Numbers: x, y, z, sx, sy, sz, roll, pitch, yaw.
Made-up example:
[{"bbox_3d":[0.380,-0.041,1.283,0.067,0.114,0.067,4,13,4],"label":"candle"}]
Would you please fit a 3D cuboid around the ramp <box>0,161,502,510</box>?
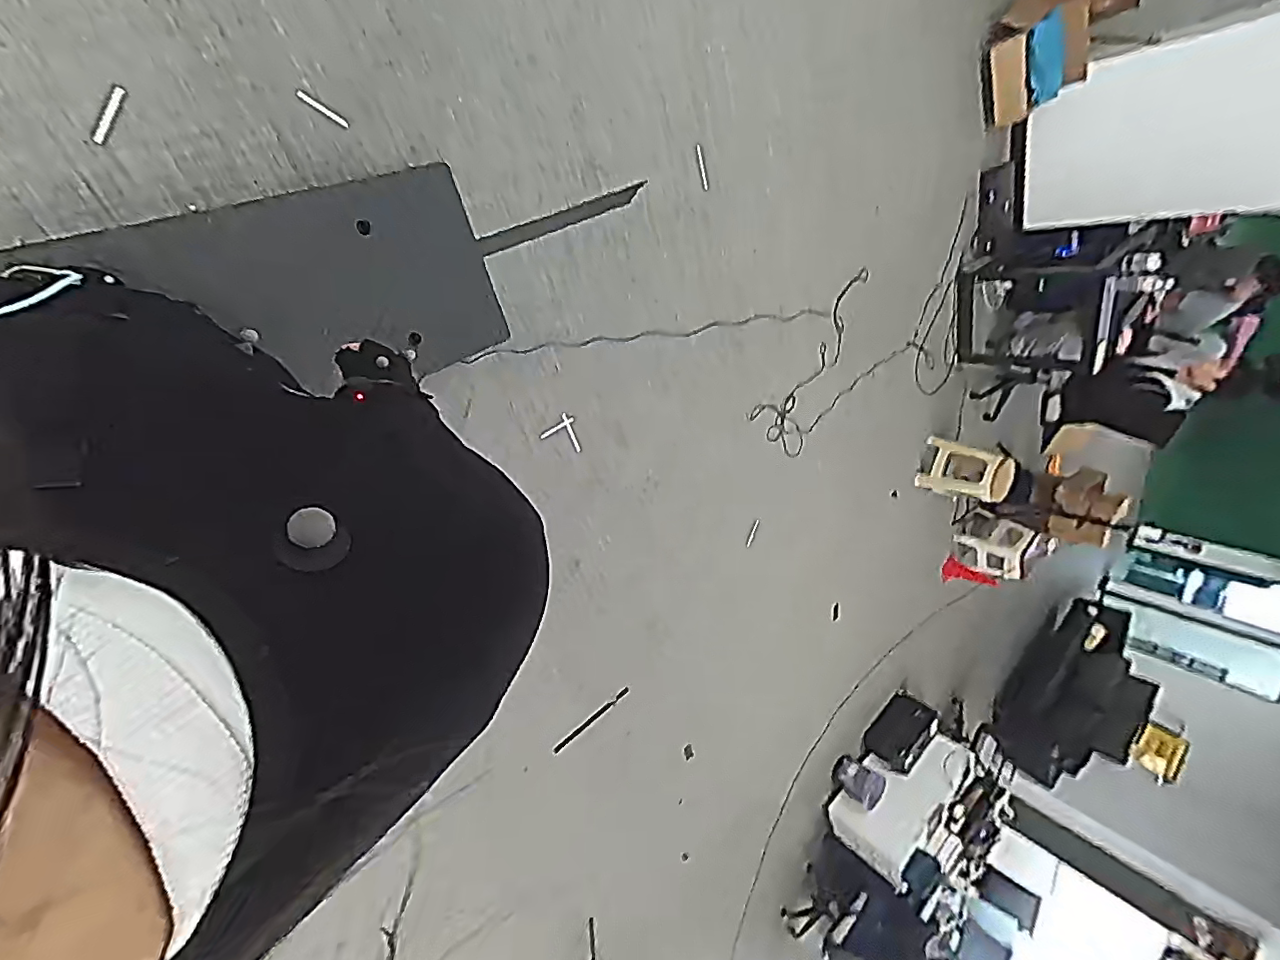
[{"bbox_3d":[-0.799,-0.396,1.266,0.991,0.206,0.509,-34,122,-27],"label":"ramp"}]
